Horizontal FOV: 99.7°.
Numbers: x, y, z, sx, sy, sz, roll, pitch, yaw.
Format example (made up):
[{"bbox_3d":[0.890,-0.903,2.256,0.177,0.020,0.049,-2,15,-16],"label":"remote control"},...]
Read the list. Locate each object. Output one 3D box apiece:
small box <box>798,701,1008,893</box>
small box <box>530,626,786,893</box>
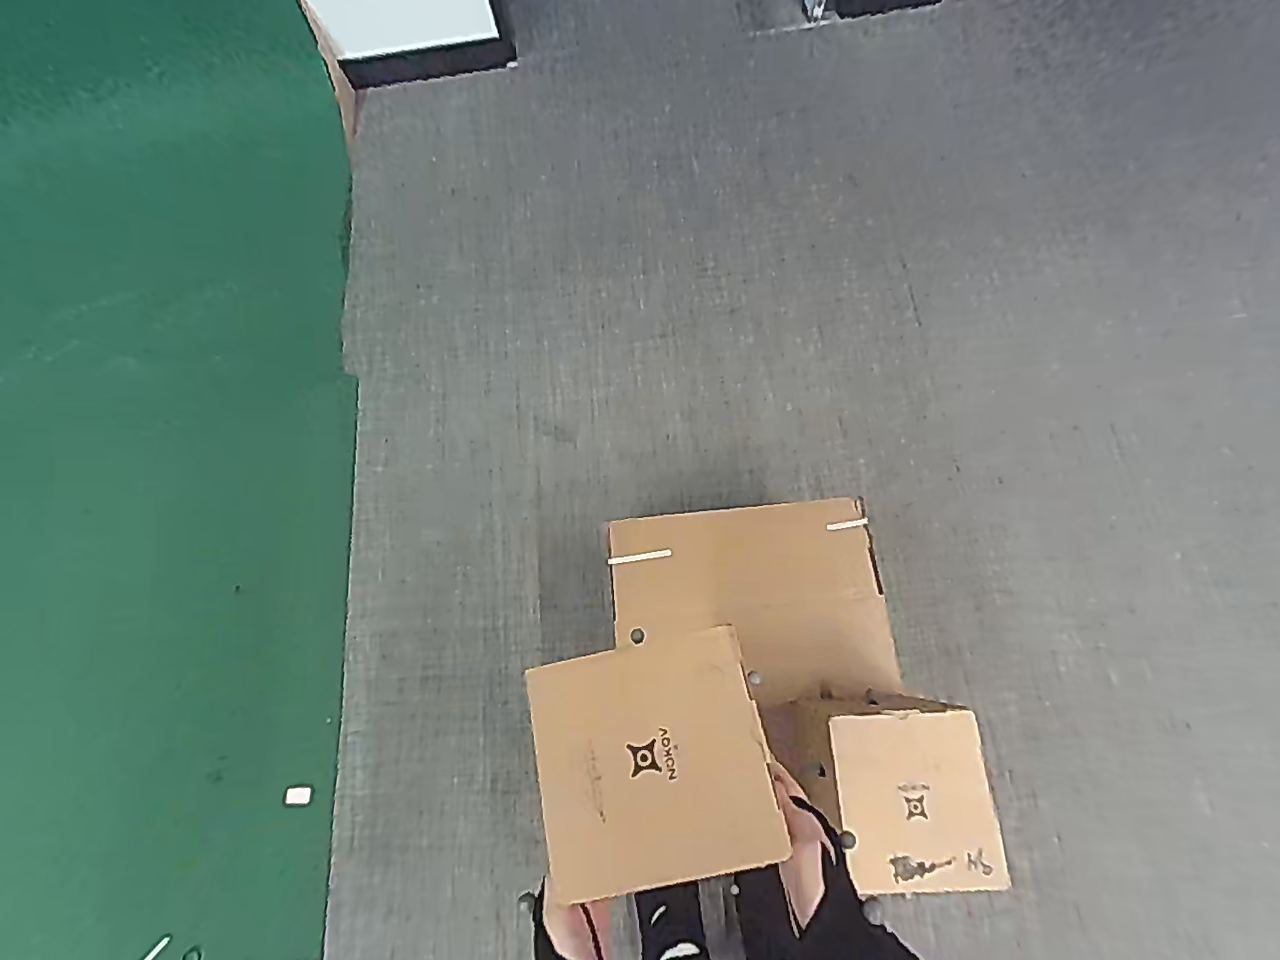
[{"bbox_3d":[0.298,0.367,0.659,0.168,0.176,0.179,-3,72,3],"label":"small box"},{"bbox_3d":[0.016,0.236,0.493,0.179,0.176,0.168,-13,68,3],"label":"small box"}]
